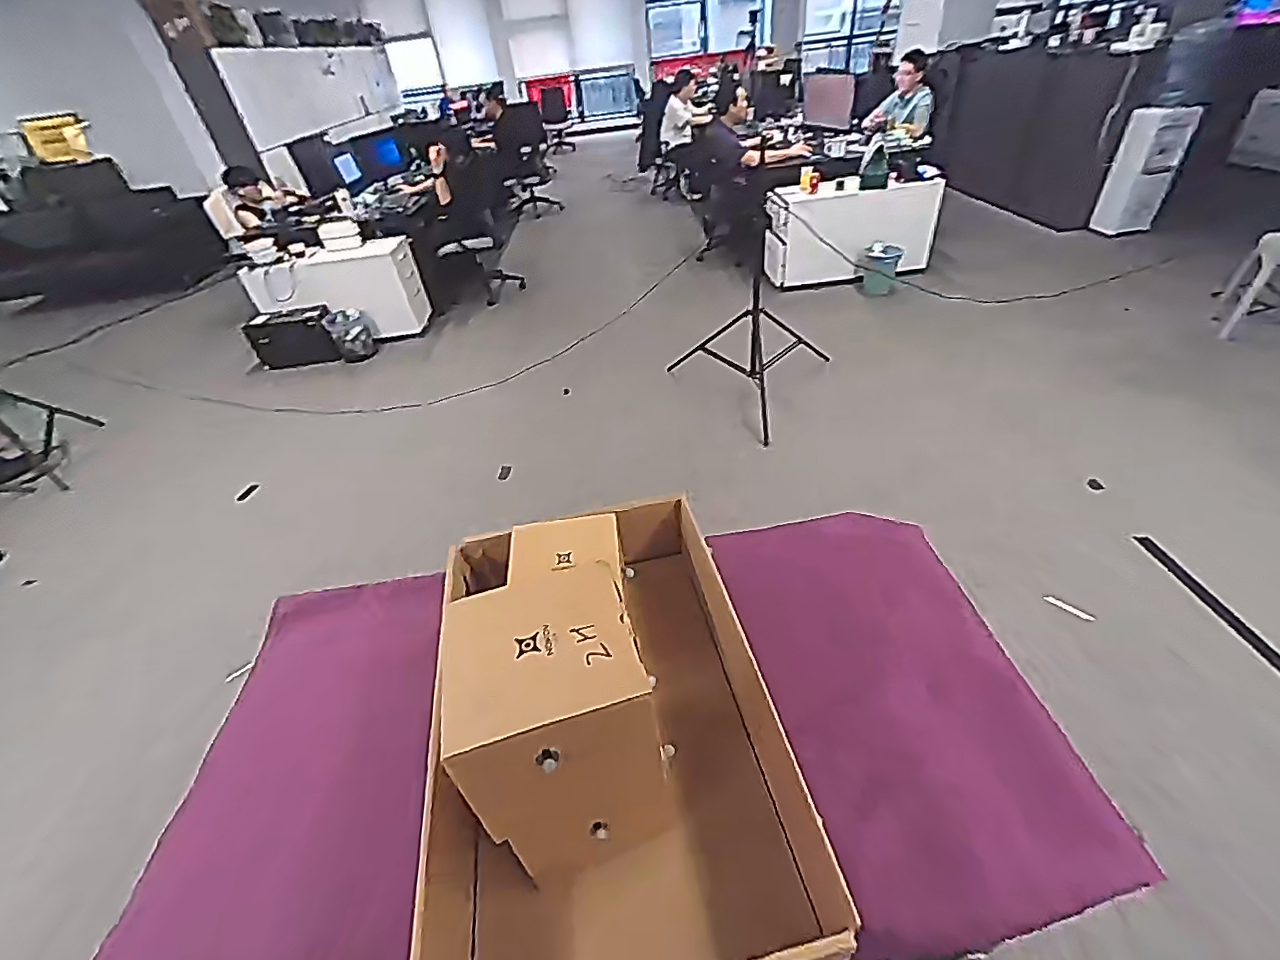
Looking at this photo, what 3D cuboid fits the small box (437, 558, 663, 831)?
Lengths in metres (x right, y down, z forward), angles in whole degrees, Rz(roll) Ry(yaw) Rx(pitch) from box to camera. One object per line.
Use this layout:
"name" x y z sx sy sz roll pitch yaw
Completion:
"small box" -0.085 0.211 0.539 0.179 0.176 0.168 -14 38 -9
